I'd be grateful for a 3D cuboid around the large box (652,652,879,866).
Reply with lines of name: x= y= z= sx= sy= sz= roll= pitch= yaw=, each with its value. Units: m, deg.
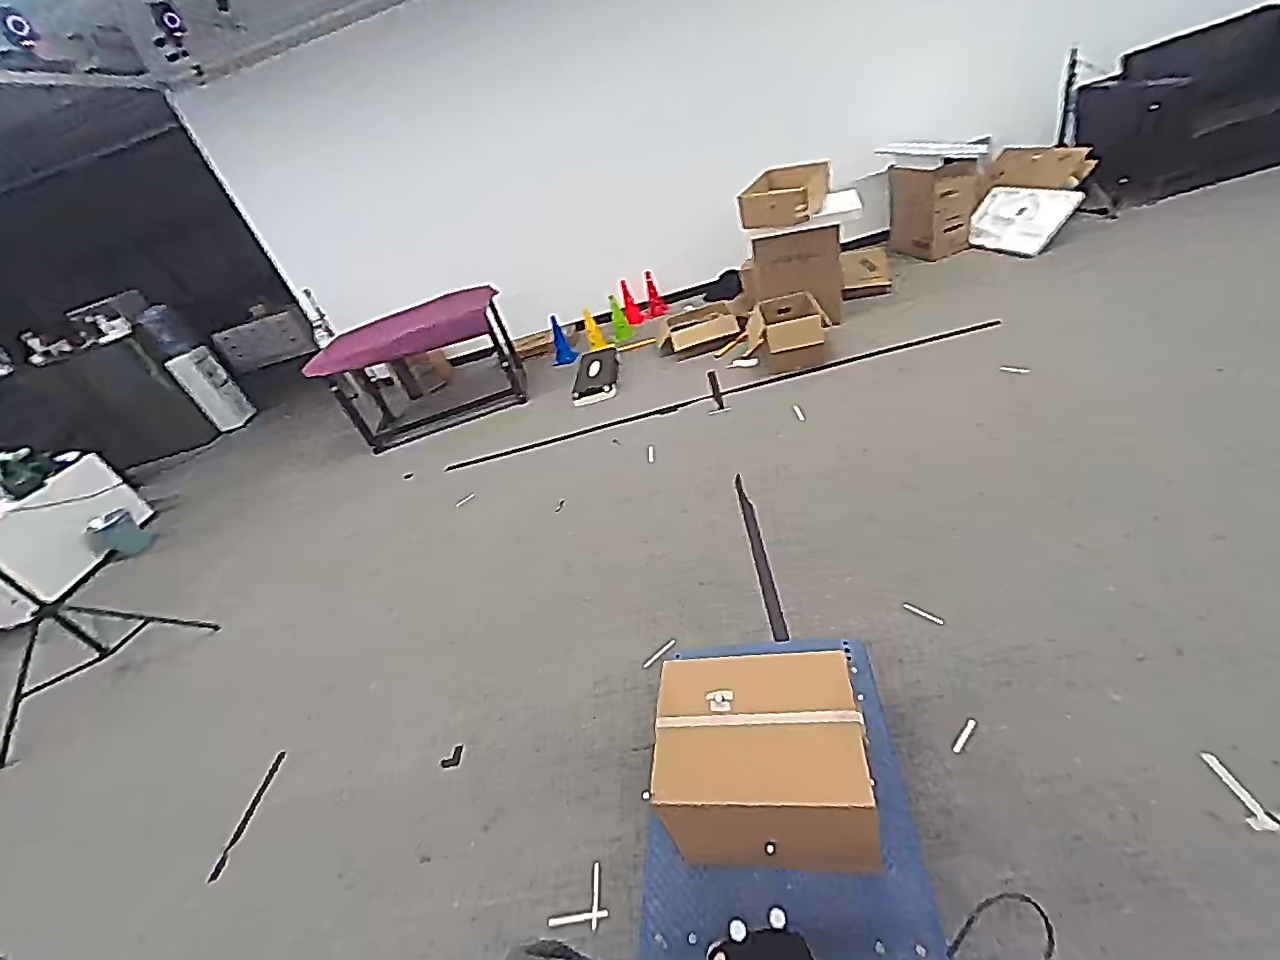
large box: x=0.269 y=0.616 z=1.184 sx=0.408 sy=0.320 sz=0.320 roll=-10 pitch=34 yaw=15
